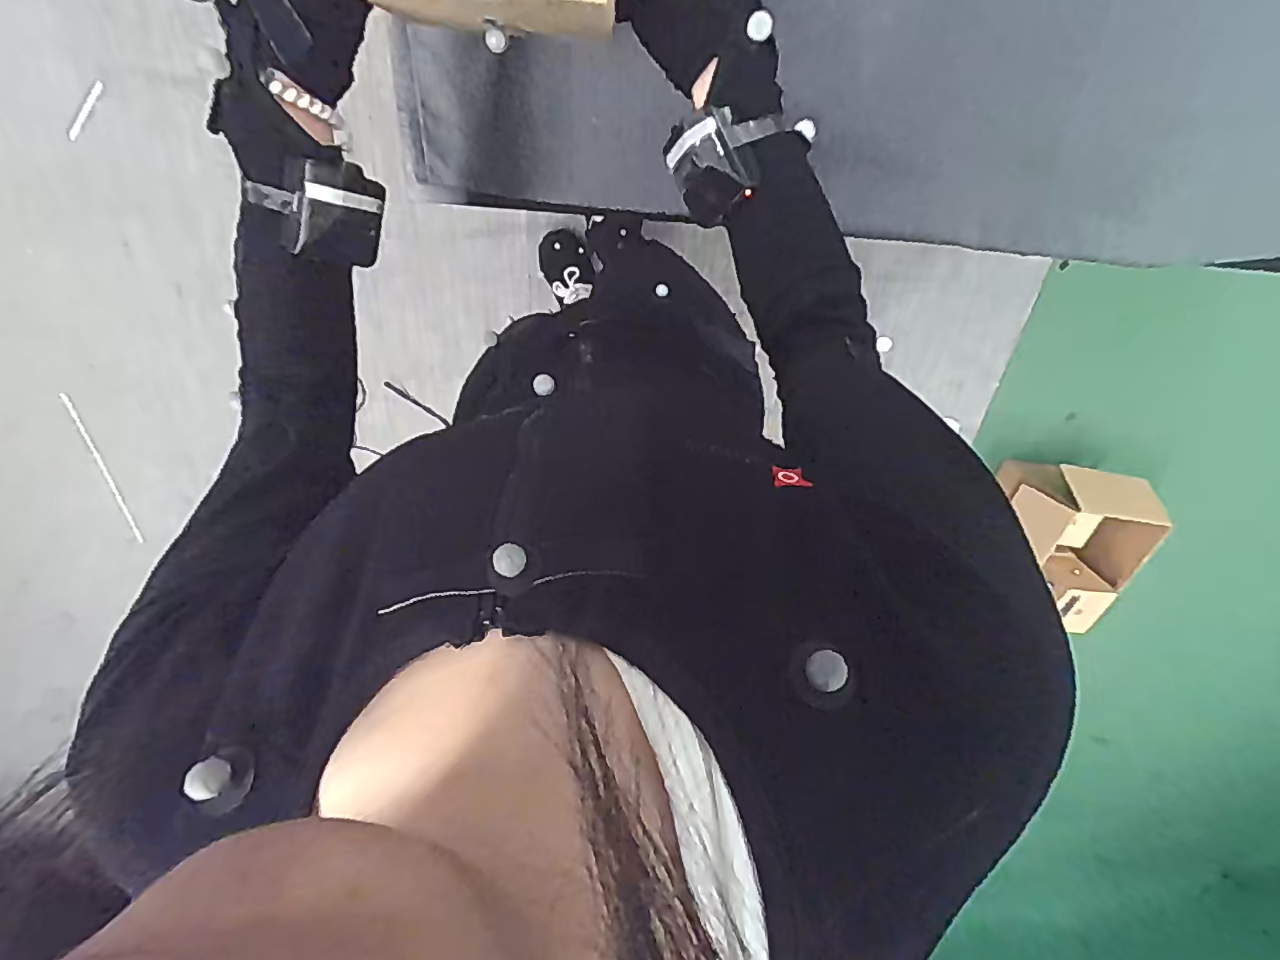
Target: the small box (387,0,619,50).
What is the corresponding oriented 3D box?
[{"bbox_3d":[-0.089,-0.381,0.315,0.168,0.176,0.179,3,122,-4],"label":"small box"}]
